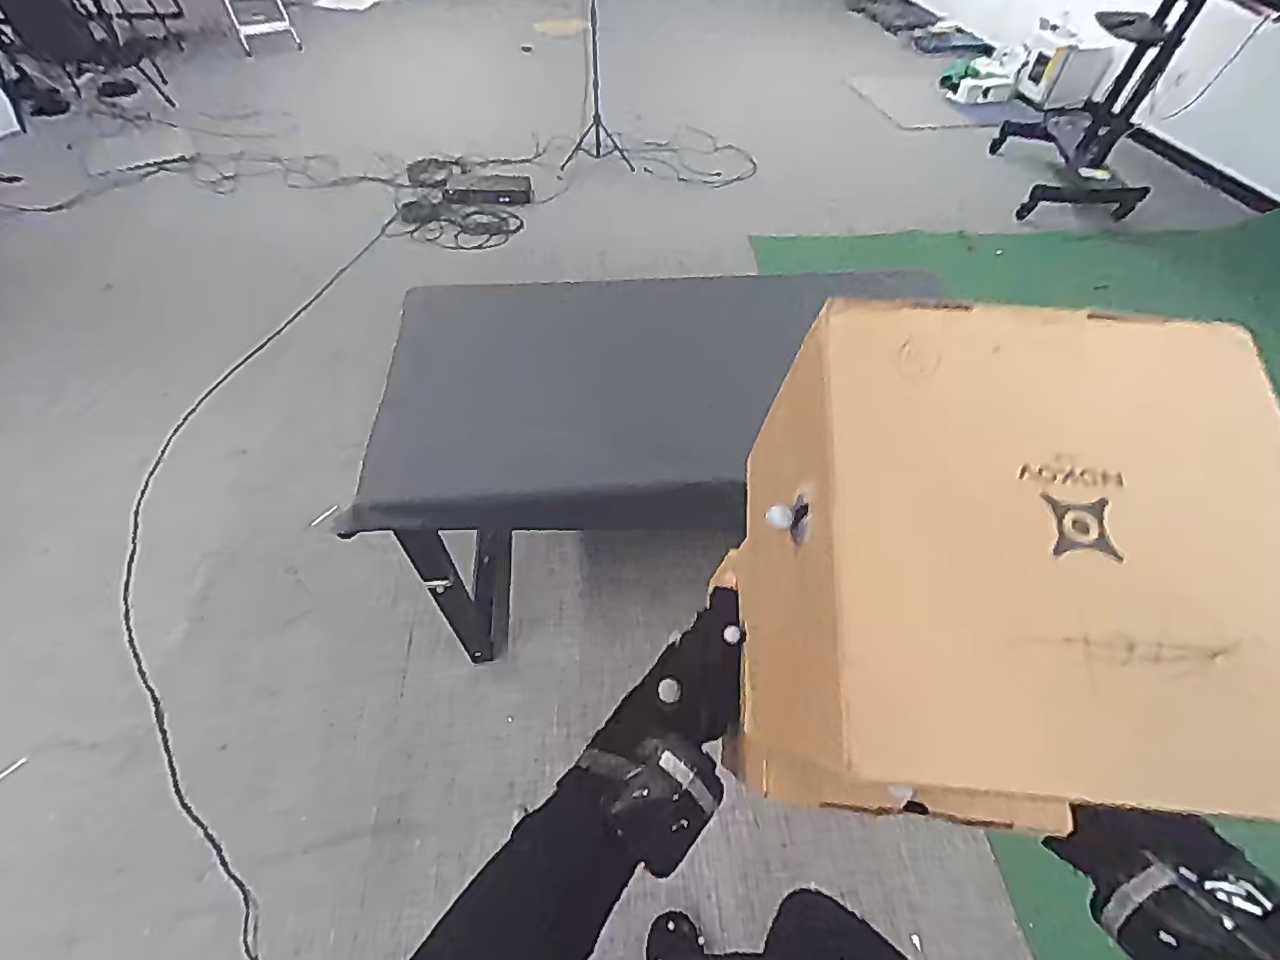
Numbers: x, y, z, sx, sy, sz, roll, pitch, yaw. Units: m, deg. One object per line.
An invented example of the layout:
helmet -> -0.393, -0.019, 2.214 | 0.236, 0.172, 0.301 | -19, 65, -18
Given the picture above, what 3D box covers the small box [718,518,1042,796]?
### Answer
small box -> 0.152, 0.121, 0.411 | 0.168, 0.176, 0.179 | 2, 69, 2
